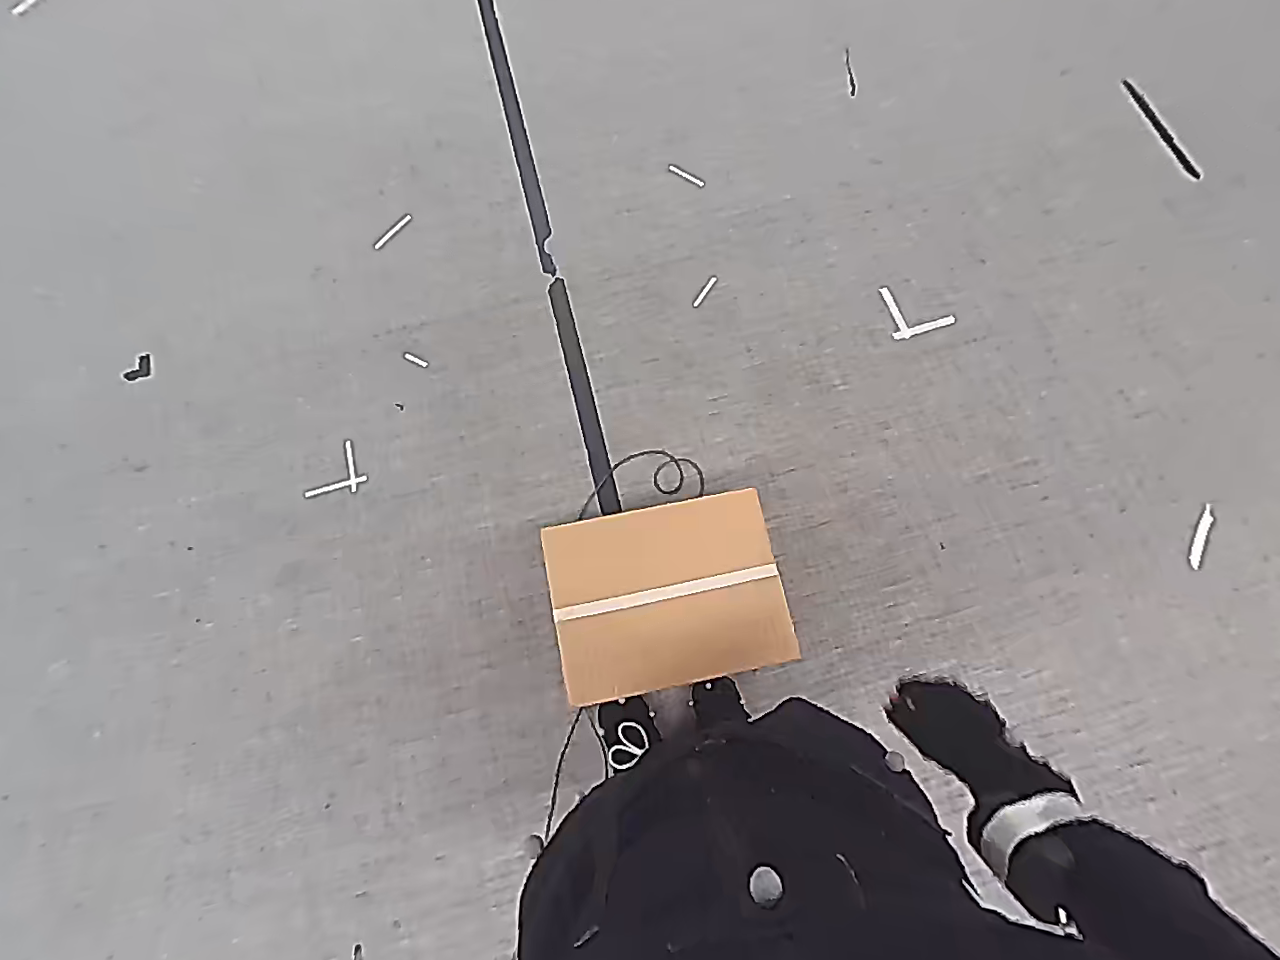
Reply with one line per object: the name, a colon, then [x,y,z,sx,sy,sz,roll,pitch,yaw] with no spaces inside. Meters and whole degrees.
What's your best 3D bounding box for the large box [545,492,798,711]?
large box: [0.051,0.244,1.100,0.408,0.320,0.320,-11,74,-3]
